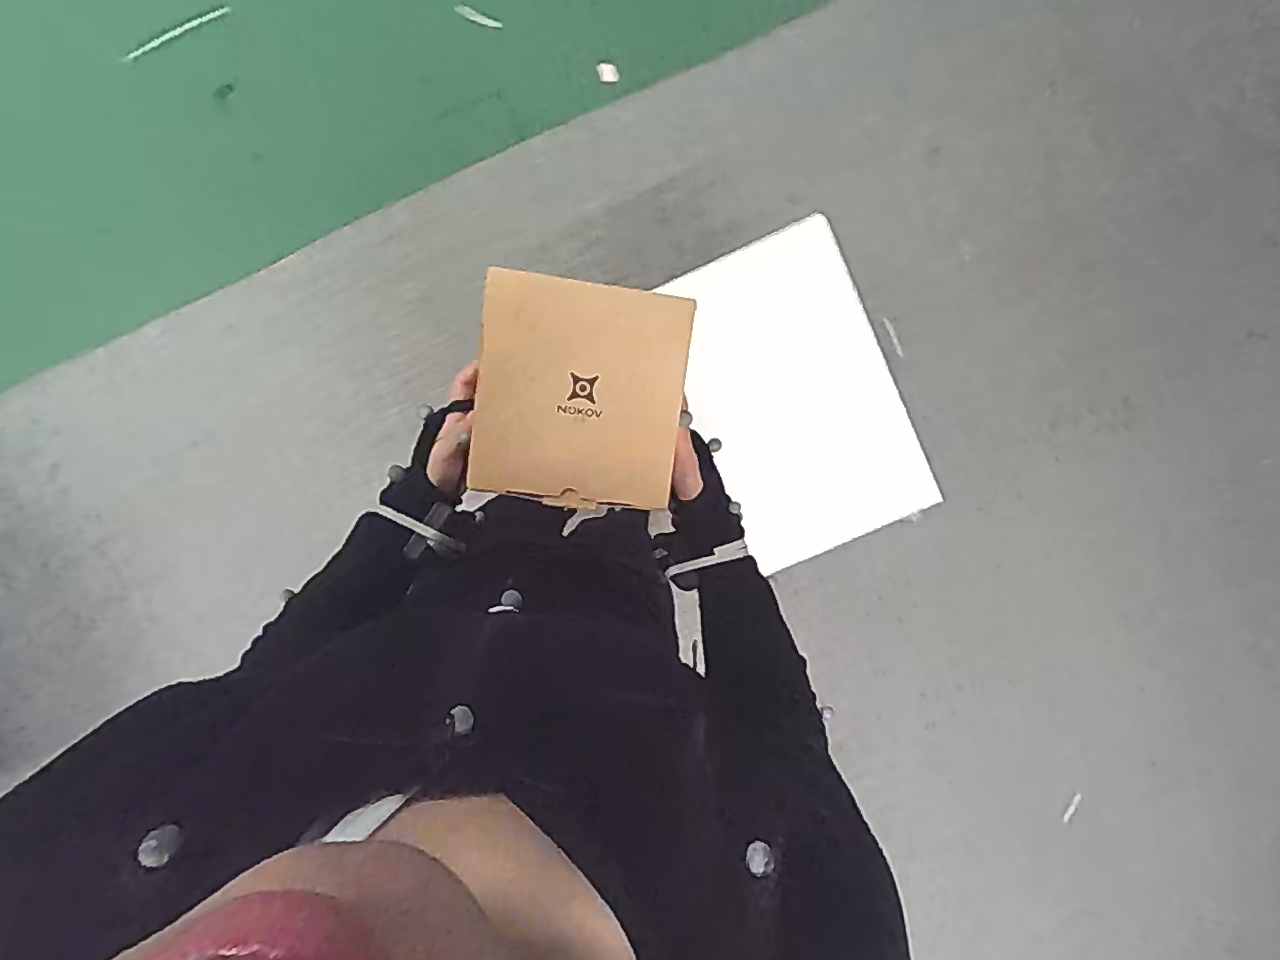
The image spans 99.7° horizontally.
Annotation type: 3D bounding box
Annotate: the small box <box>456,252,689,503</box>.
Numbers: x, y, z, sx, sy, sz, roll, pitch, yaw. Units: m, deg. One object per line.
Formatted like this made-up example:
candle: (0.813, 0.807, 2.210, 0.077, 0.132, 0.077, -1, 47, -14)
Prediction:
small box: (-0.061, -0.084, 0.492, 0.168, 0.176, 0.179, 5, 97, -7)
